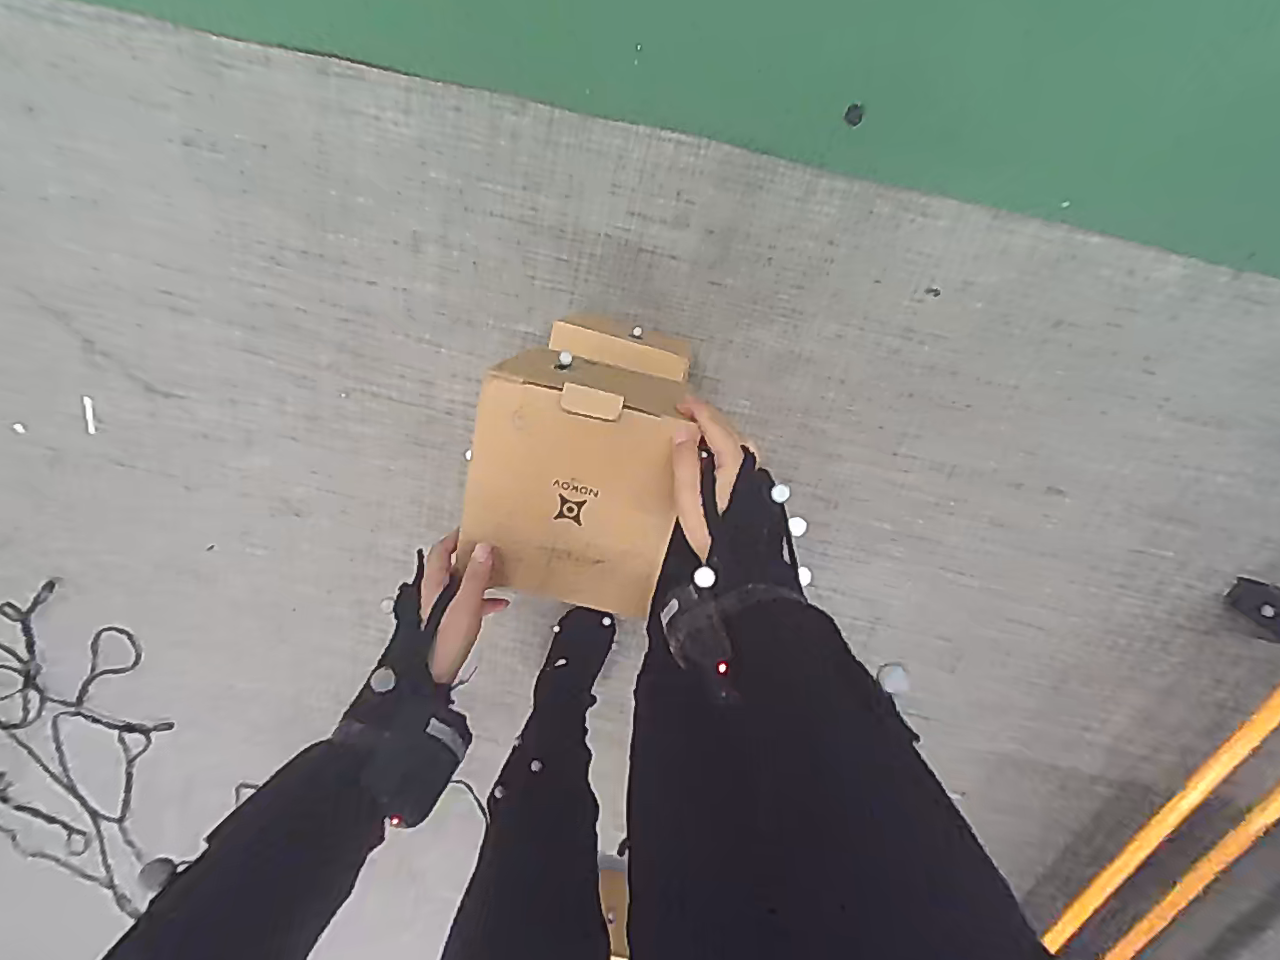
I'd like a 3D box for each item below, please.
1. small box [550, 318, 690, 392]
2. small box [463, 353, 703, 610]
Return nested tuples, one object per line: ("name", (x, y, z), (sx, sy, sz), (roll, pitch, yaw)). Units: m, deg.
("small box", (-0.033, -0.126, 0.768), (0.179, 0.176, 0.168), (16, 112, 1))
("small box", (-0.047, -0.012, 0.506), (0.168, 0.176, 0.179), (13, 110, -2))
